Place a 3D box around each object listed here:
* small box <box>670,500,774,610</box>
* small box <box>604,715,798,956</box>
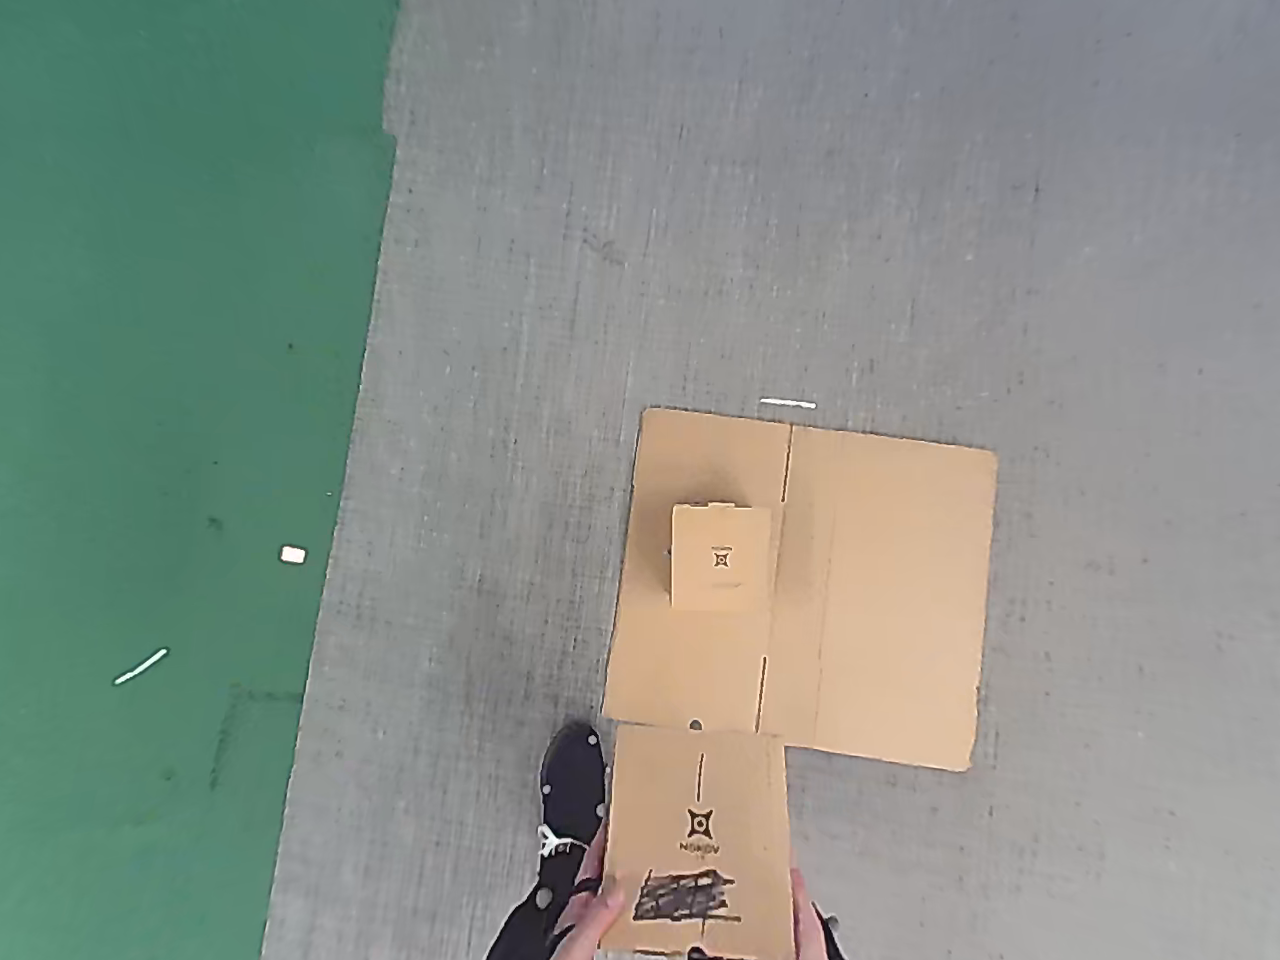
[{"bbox_3d":[0.139,0.129,0.962,0.168,0.176,0.179,1,86,3],"label":"small box"},{"bbox_3d":[0.058,0.350,0.559,0.168,0.176,0.179,3,61,2],"label":"small box"}]
